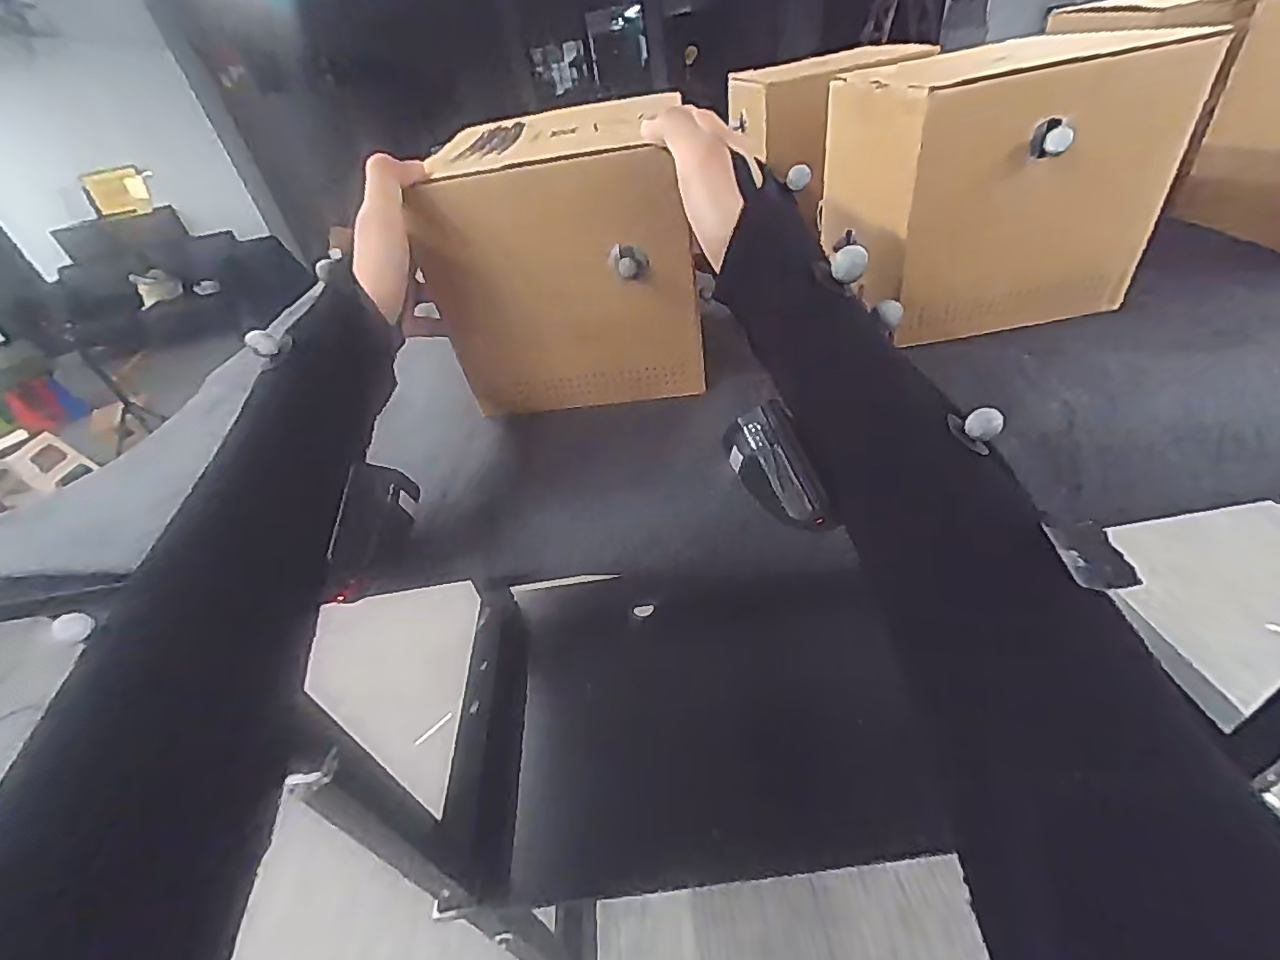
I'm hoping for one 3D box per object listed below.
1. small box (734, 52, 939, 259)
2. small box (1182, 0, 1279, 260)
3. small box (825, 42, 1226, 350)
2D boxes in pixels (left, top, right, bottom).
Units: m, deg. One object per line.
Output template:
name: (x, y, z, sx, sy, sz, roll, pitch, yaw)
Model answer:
small box: (0.205, -0.371, 0.621, 0.168, 0.176, 0.179, -9, 39, 3)
small box: (0.580, -0.269, 0.402, 0.168, 0.176, 0.179, -5, 39, 8)
small box: (0.260, -0.222, 0.424, 0.179, 0.176, 0.168, -10, 38, 2)
